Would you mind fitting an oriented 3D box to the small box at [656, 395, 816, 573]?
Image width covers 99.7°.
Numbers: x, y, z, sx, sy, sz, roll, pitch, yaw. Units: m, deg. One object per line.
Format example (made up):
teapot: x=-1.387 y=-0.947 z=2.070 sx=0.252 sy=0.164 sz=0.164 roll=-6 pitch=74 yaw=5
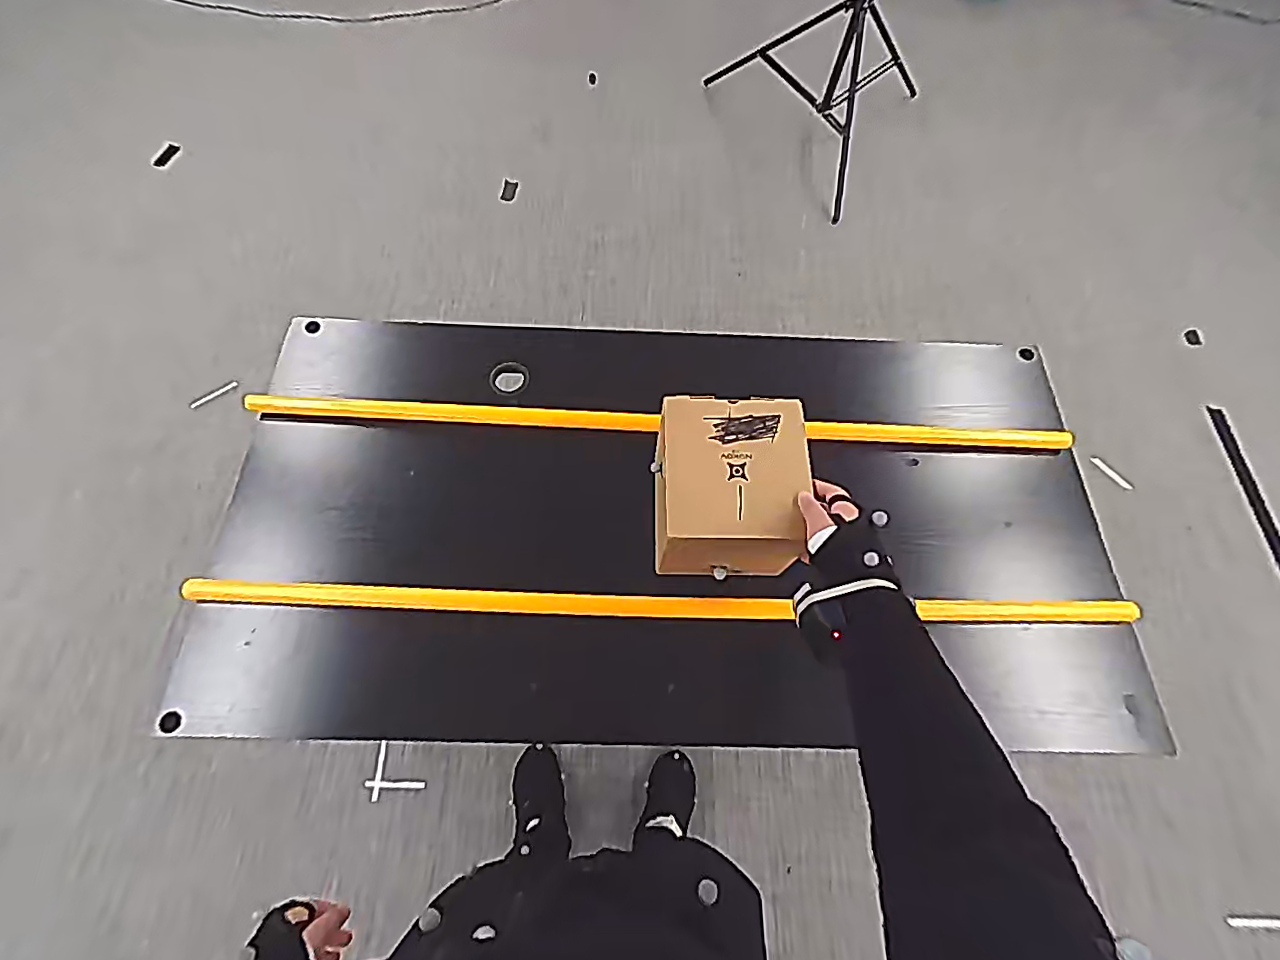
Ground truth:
small box: x=0.107 y=0.011 z=0.688 sx=0.168 sy=0.176 sz=0.179 roll=1 pitch=67 yaw=-2
